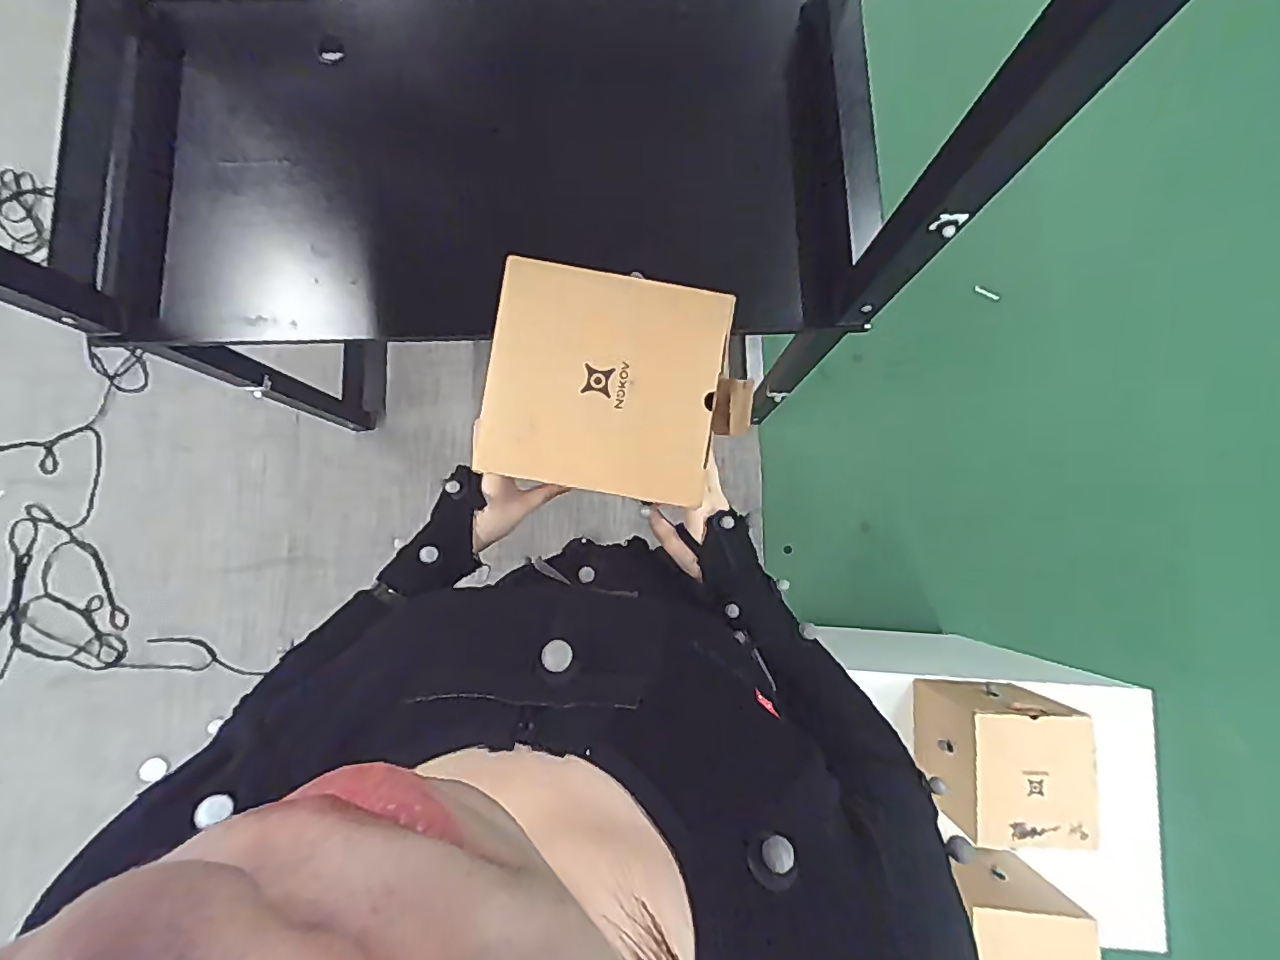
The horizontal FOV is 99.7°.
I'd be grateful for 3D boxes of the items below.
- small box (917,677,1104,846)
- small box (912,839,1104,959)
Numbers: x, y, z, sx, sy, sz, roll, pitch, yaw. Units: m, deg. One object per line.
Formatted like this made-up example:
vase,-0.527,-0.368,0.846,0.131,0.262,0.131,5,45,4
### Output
small box,0.530,0.399,0.797,0.168,0.176,0.179,2,84,1
small box,0.507,0.647,0.767,0.168,0.176,0.179,5,84,2
